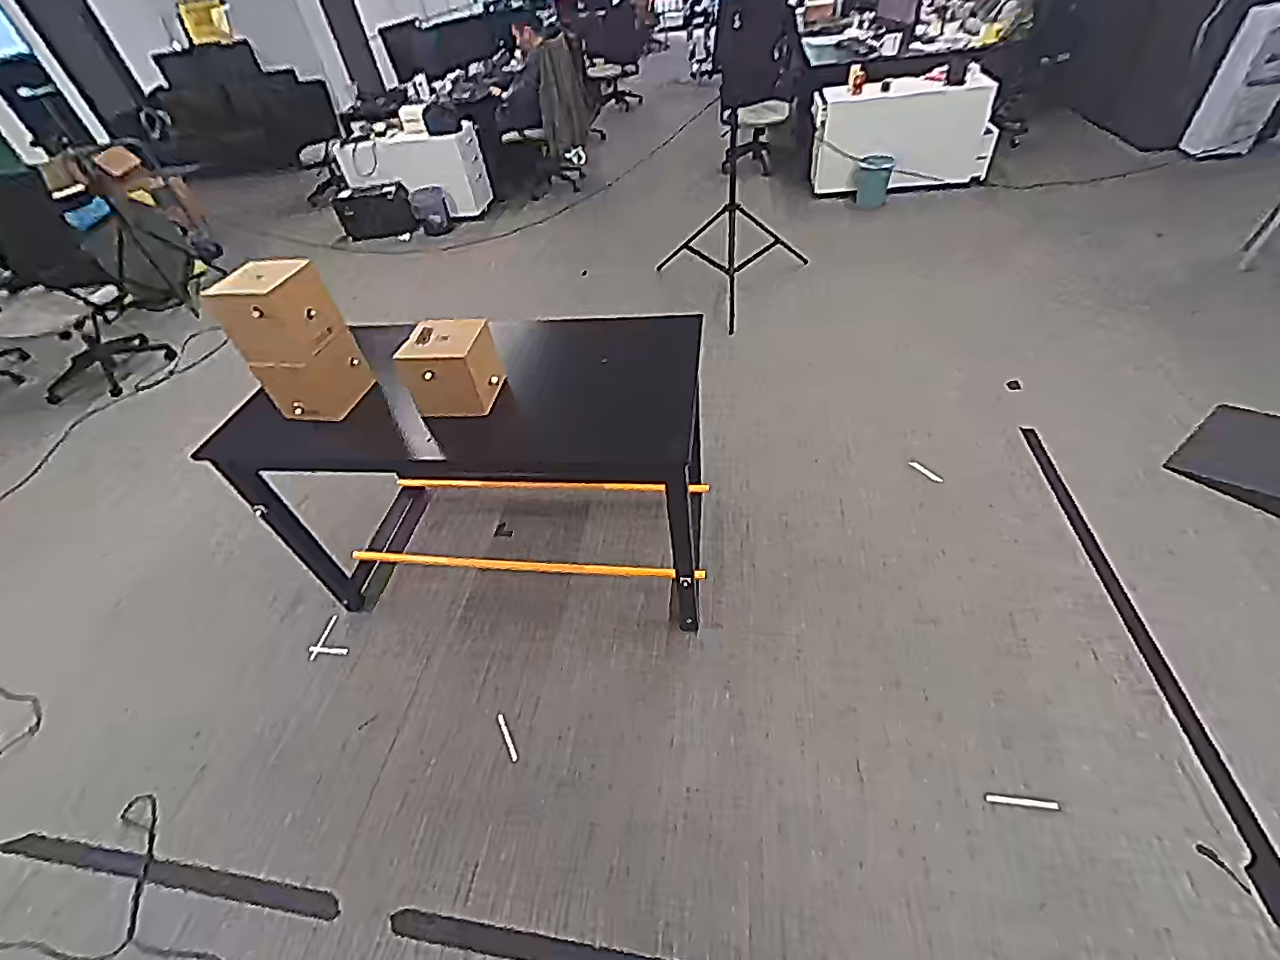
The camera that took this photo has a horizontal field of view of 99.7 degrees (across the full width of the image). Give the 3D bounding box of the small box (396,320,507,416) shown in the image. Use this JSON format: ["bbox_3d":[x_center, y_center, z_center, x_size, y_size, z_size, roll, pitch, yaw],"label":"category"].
[{"bbox_3d":[-0.444,-0.268,1.305,0.179,0.176,0.168,1,46,8],"label":"small box"}]

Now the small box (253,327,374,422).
[{"bbox_3d":[-0.804,-0.266,1.360,0.168,0.176,0.179,2,47,12],"label":"small box"}]

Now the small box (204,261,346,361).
[{"bbox_3d":[-0.826,-0.386,1.249,0.179,0.176,0.168,3,45,12],"label":"small box"}]
